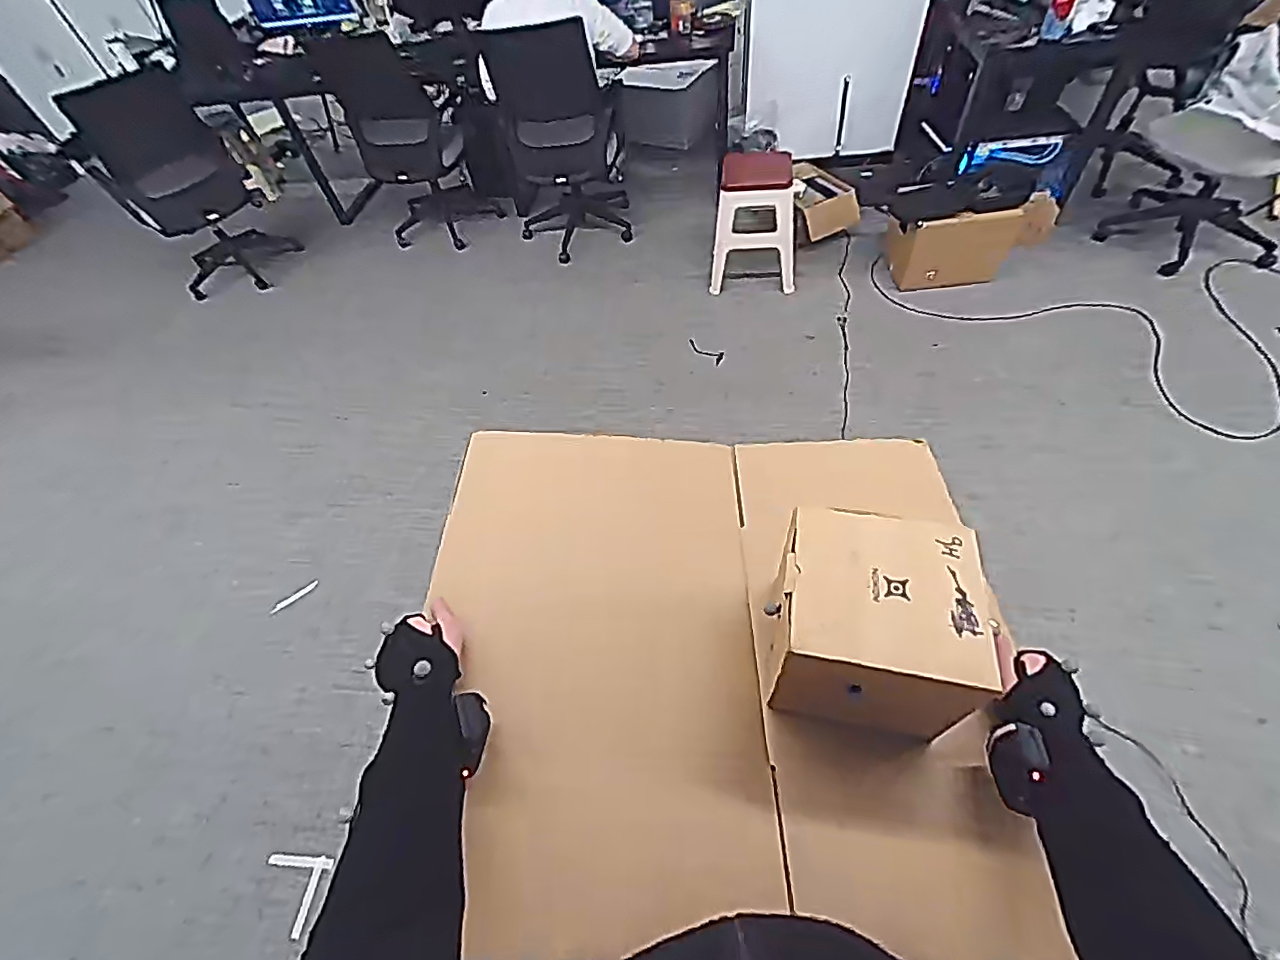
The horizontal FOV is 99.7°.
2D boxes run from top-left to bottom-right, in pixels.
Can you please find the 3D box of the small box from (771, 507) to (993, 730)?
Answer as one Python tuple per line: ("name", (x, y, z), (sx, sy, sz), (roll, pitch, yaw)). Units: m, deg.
("small box", (0.240, 0.151, 0.581), (0.179, 0.176, 0.168), (7, 53, 12))
